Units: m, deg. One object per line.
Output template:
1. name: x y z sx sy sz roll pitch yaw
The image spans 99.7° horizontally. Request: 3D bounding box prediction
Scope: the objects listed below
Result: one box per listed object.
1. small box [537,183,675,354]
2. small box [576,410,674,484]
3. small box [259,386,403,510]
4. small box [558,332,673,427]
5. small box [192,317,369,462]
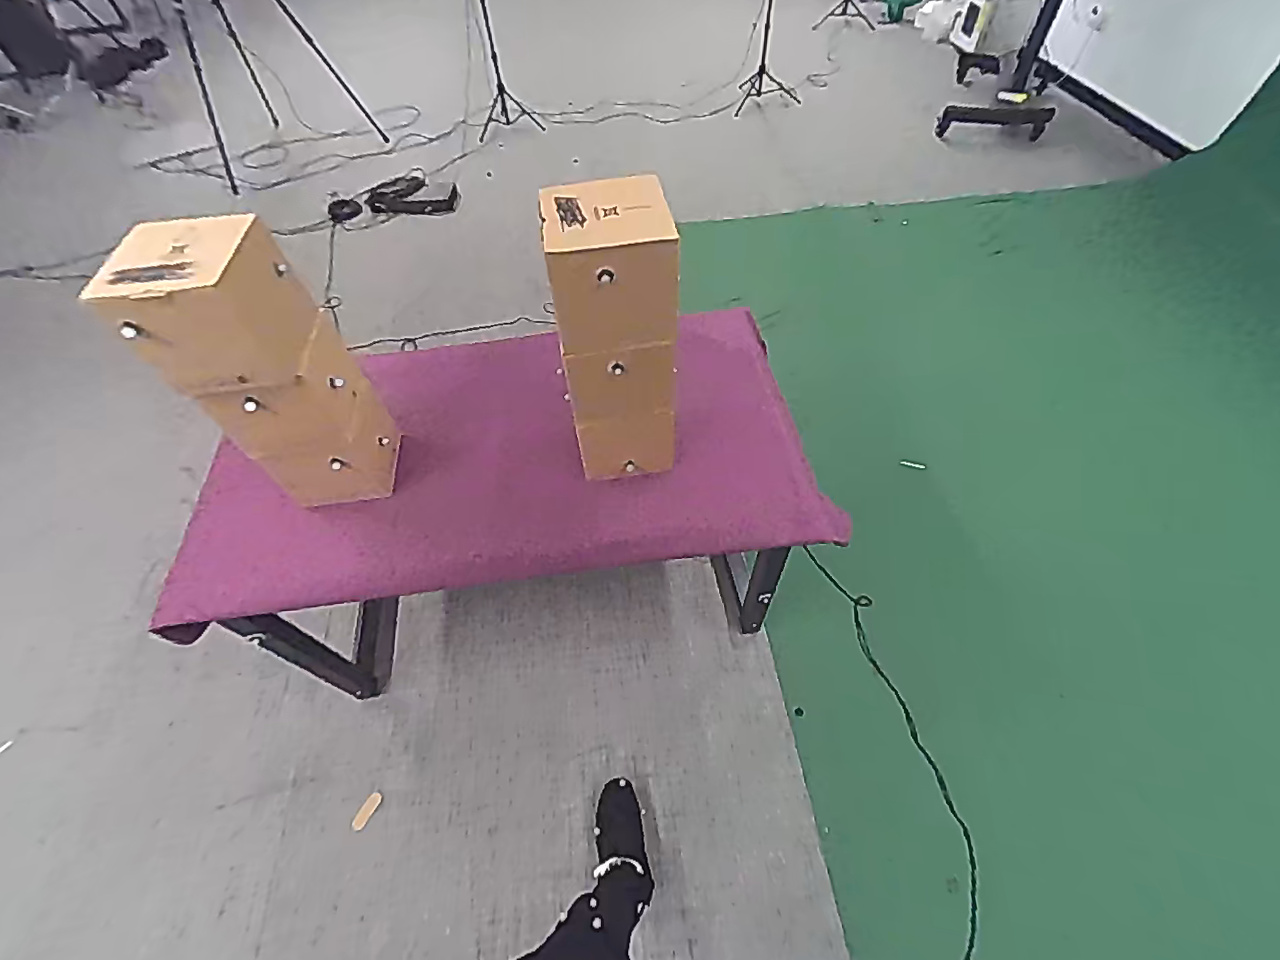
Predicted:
1. small box: -0.046 -0.305 0.799 0.179 0.176 0.168 -9 56 -3
2. small box: -0.034 -0.112 1.063 0.179 0.176 0.168 -9 54 -3
3. small box: -0.586 -0.059 1.056 0.179 0.176 0.168 -7 54 -3
4. small box: -0.041 -0.208 0.931 0.179 0.176 0.168 -8 55 -2
5. small box: -0.593 -0.150 0.922 0.179 0.176 0.168 -8 55 -2
